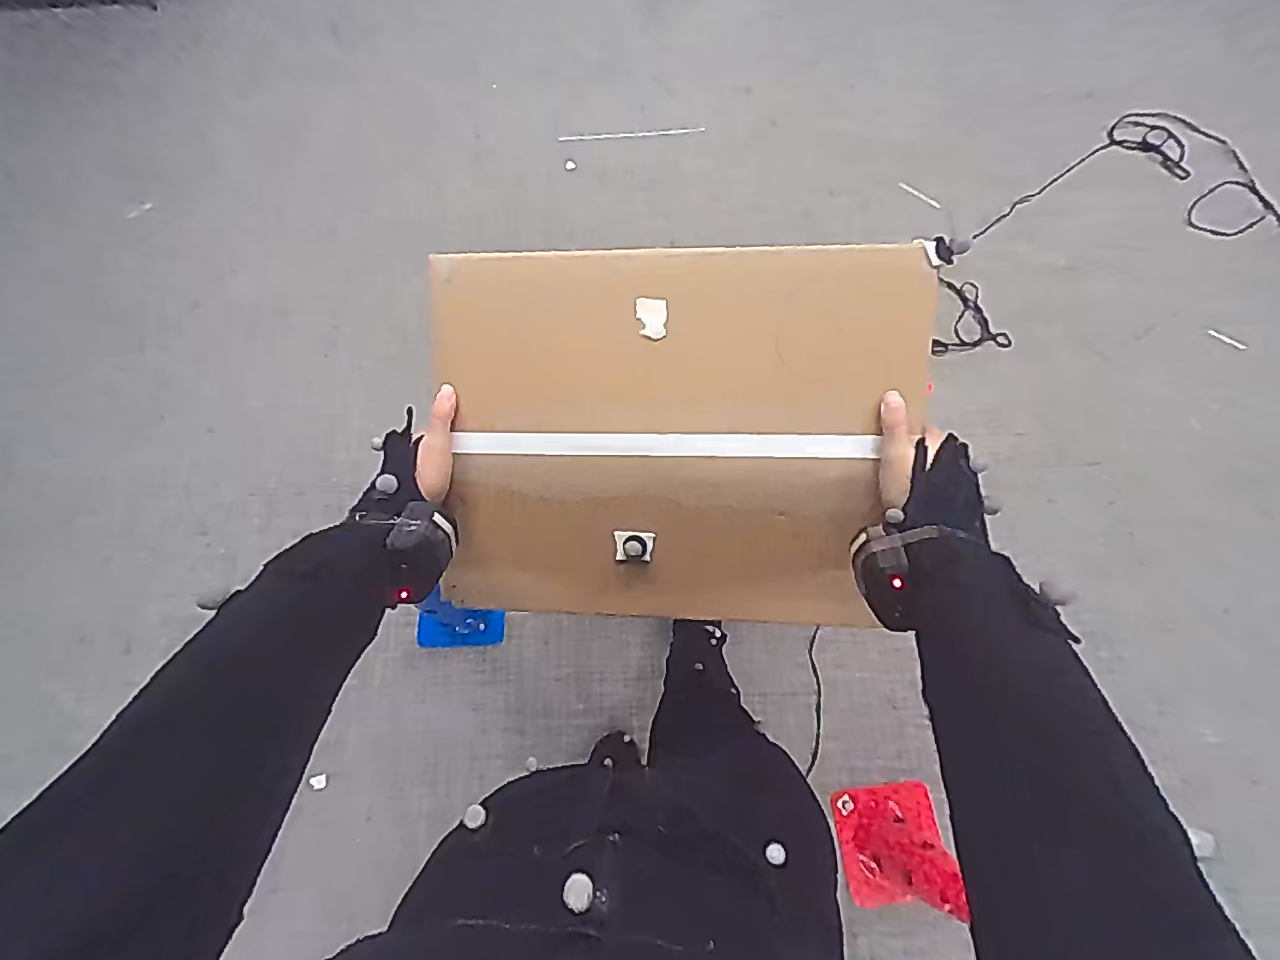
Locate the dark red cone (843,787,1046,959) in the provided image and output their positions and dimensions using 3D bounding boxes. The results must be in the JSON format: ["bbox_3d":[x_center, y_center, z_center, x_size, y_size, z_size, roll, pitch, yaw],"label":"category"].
[{"bbox_3d":[0.490,0.649,0.859,0.202,0.394,0.201,-9,72,-1],"label":"dark red cone"}]

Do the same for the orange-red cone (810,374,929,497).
[{"bbox_3d":[0.530,-0.125,1.173,0.199,0.360,0.198,17,72,7],"label":"orange-red cone"}]

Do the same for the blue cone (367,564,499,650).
[{"bbox_3d":[-0.431,0.232,1.097,0.192,0.380,0.193,-2,69,2],"label":"blue cone"}]
